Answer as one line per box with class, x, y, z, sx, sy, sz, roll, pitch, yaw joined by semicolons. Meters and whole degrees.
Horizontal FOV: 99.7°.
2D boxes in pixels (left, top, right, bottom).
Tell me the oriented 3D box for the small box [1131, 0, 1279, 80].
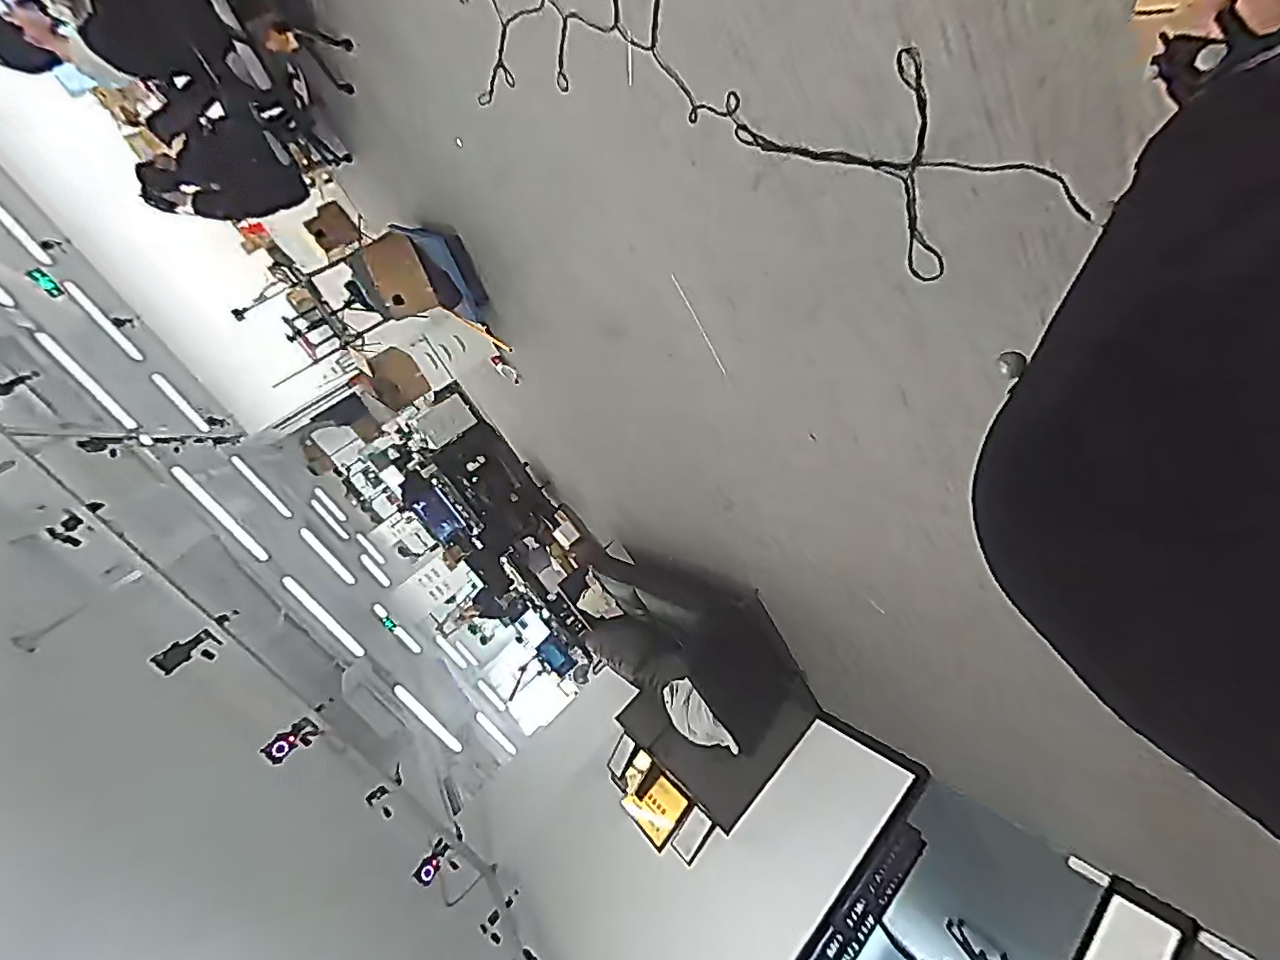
small box;0.561;-0.470;0.458;0.168;0.179;0.176;29;120;35
